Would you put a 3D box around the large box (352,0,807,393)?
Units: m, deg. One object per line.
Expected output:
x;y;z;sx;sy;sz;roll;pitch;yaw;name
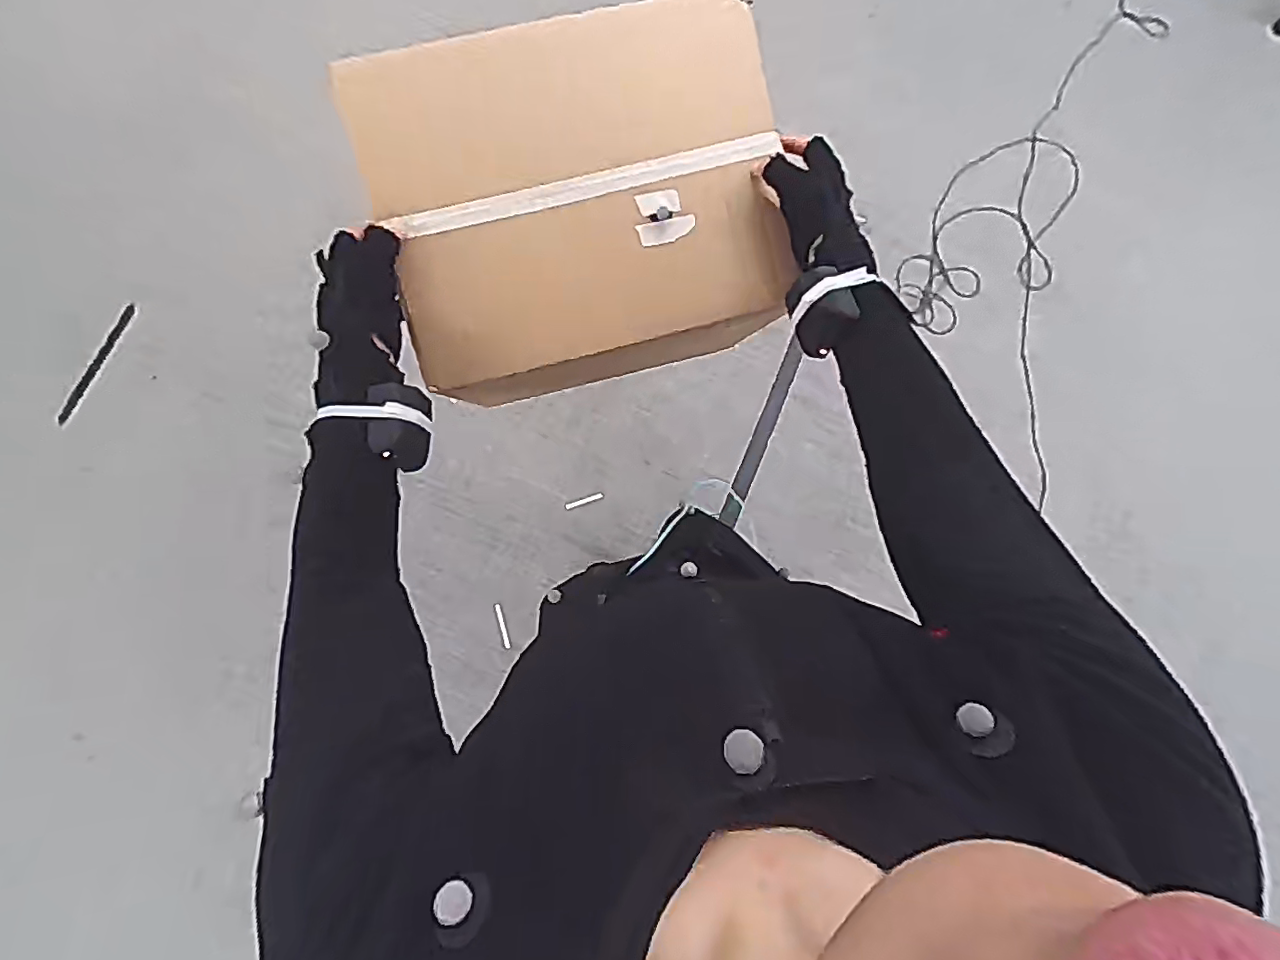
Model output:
-0.064;-0.315;0.687;0.408;0.320;0.320;-14;97;-5;large box
